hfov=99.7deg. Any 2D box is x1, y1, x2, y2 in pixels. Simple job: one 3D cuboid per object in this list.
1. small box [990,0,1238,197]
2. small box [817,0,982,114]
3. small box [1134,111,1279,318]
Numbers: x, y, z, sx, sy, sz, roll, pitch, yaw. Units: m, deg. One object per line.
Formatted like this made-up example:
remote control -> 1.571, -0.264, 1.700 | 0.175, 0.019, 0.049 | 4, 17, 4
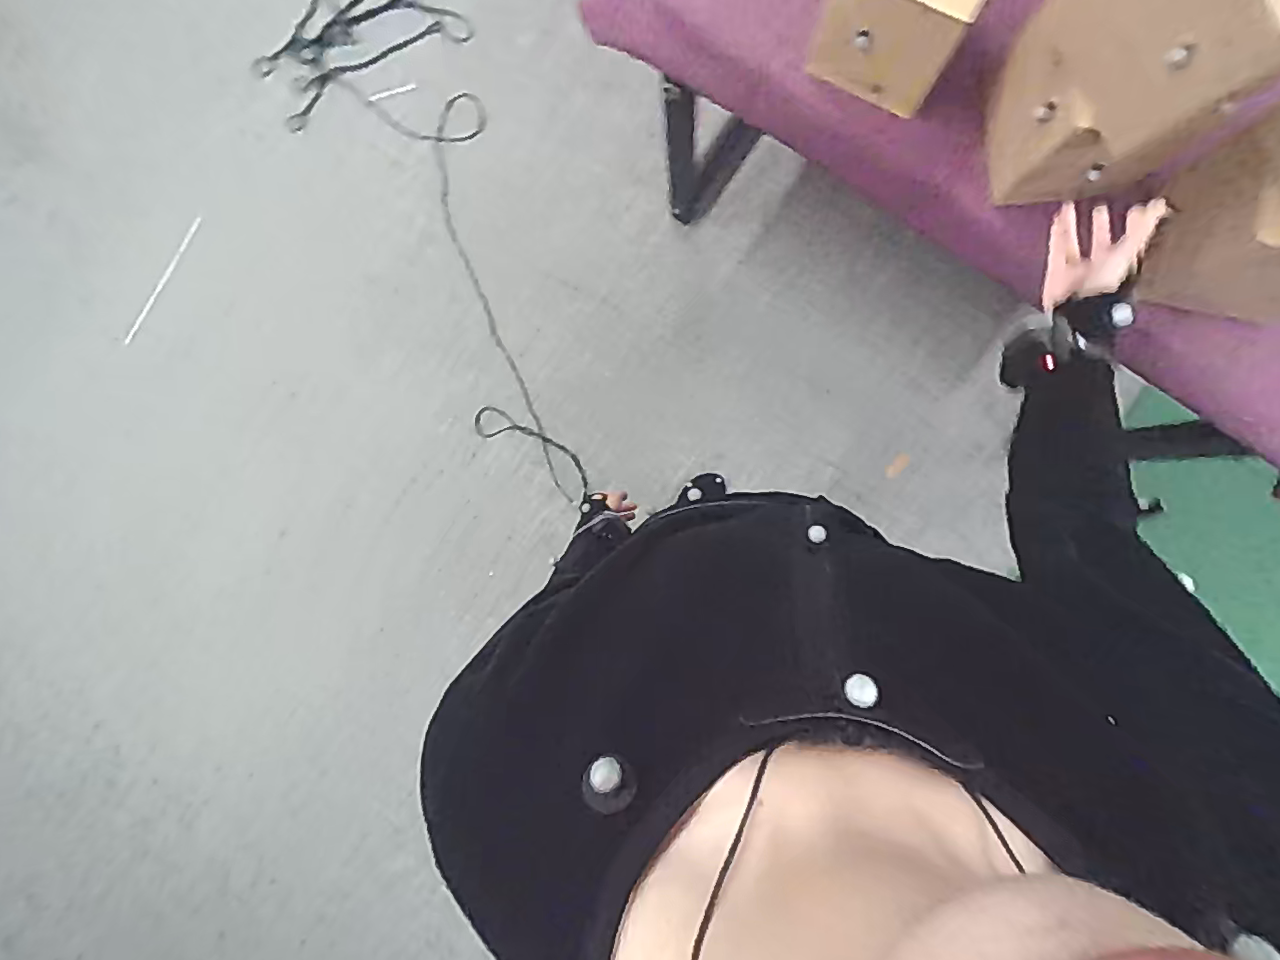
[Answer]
small box -> 0.563, -0.472, 0.666 | 0.168, 0.176, 0.179 | -2, 89, 4
small box -> 0.346, -0.621, 0.688 | 0.168, 0.176, 0.179 | 29, 91, 4
small box -> 0.766, -0.309, 0.649 | 0.179, 0.176, 0.168 | 14, 89, 5
